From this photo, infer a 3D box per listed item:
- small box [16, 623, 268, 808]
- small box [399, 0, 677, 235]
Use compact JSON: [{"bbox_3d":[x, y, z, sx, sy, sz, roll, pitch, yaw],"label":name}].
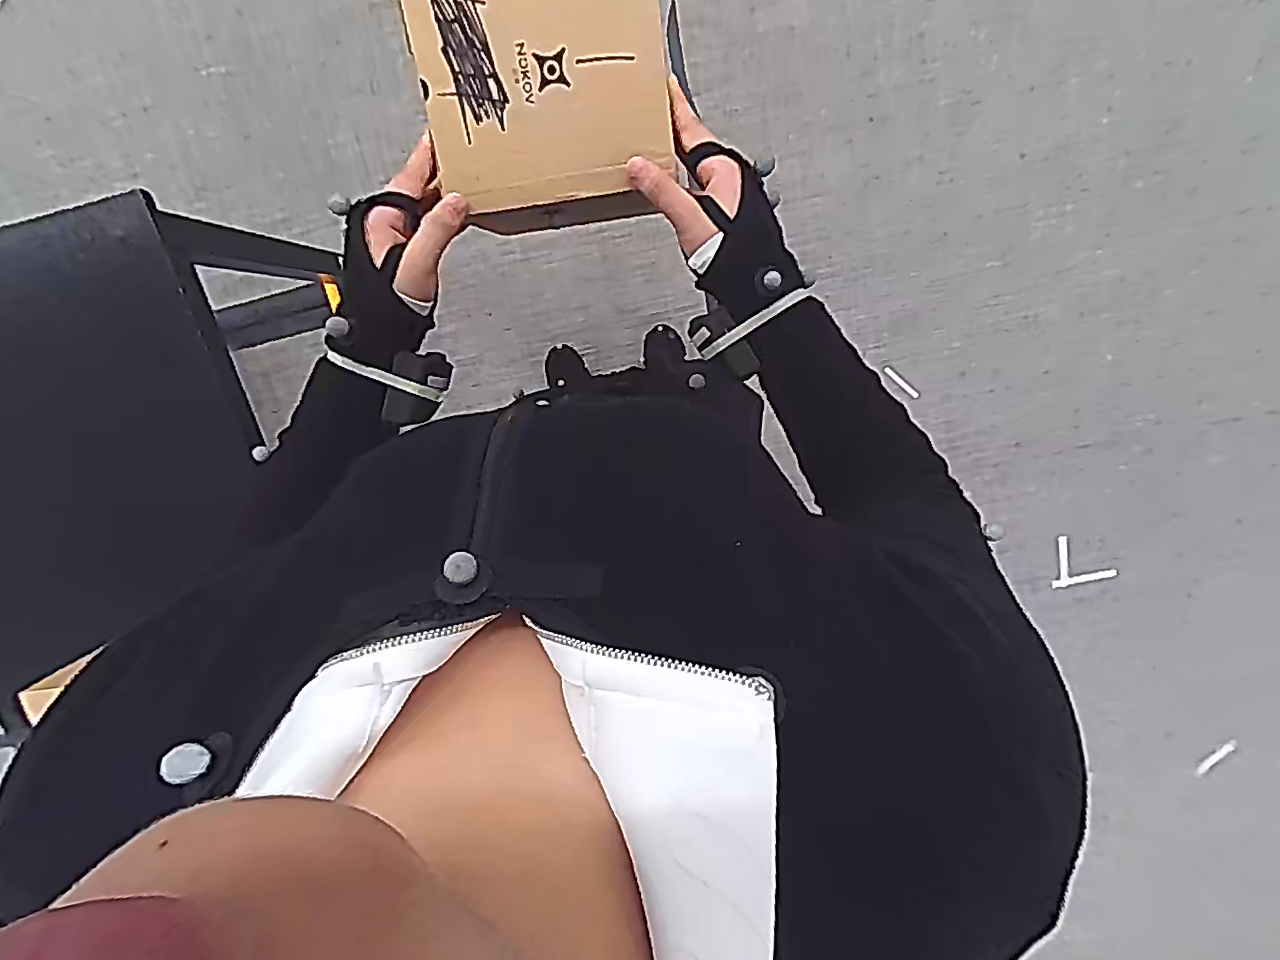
[{"bbox_3d":[-0.683,0.319,0.767,0.168,0.176,0.179,-10,105,5],"label":"small box"},{"bbox_3d":[-0.066,-0.305,0.442,0.179,0.176,0.168,-7,110,3],"label":"small box"}]
